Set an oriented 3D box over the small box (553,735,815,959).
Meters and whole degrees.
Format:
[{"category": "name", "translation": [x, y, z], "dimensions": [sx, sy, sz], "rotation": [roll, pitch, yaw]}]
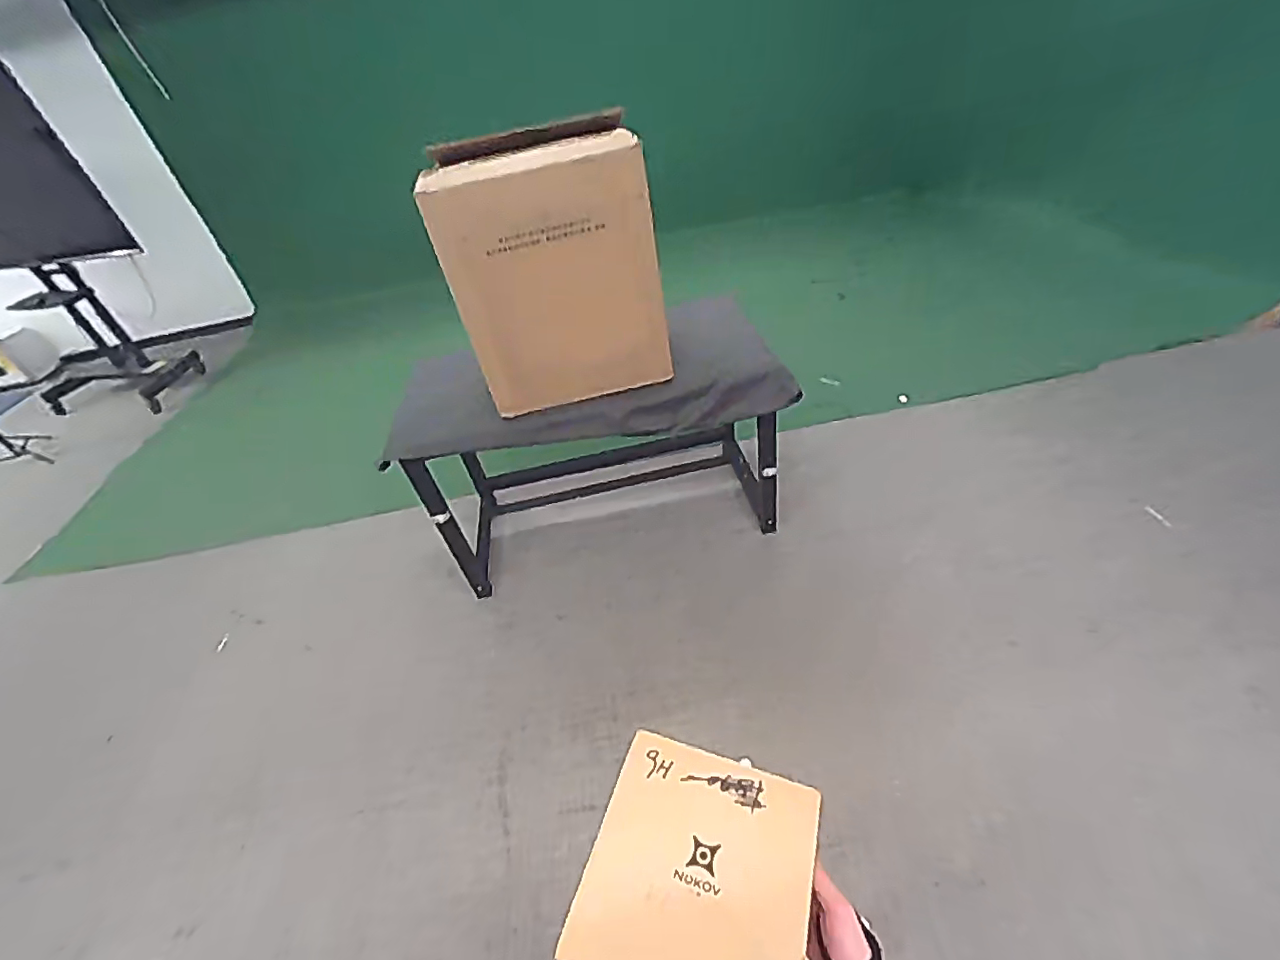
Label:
[{"category": "small box", "translation": [0.045, 0.364, 0.465], "dimensions": [0.168, 0.176, 0.179], "rotation": [12, 41, 16]}]
